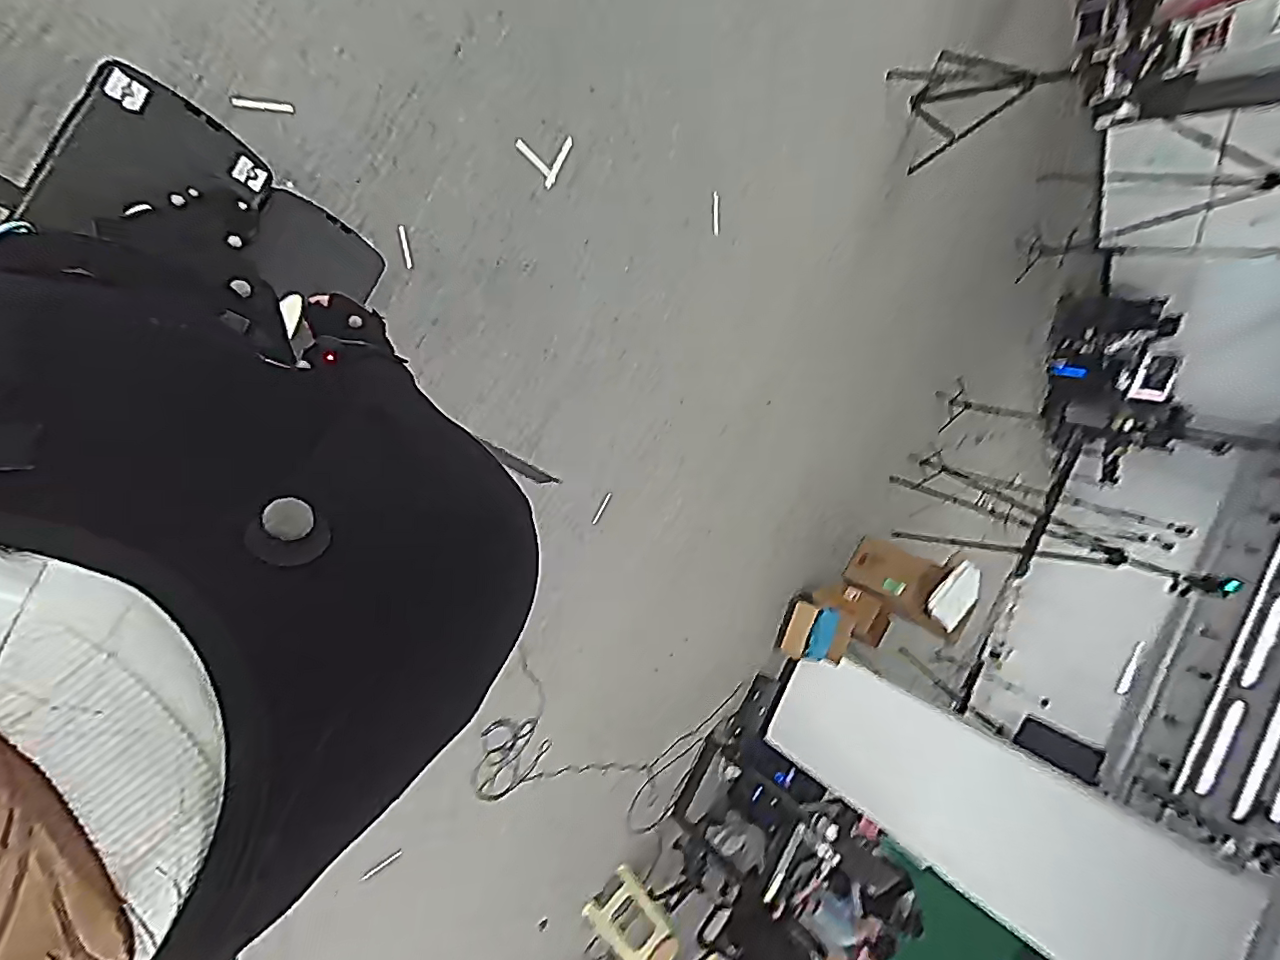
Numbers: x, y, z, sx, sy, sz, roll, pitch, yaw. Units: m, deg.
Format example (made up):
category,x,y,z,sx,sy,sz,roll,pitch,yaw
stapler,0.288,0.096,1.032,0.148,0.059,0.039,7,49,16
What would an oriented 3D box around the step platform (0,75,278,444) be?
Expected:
category,x,y,z,sx,sy,sz,roll,pitch,yaw
step platform,-1.029,-0.418,1.079,0.286,0.204,0.684,30,84,-48
